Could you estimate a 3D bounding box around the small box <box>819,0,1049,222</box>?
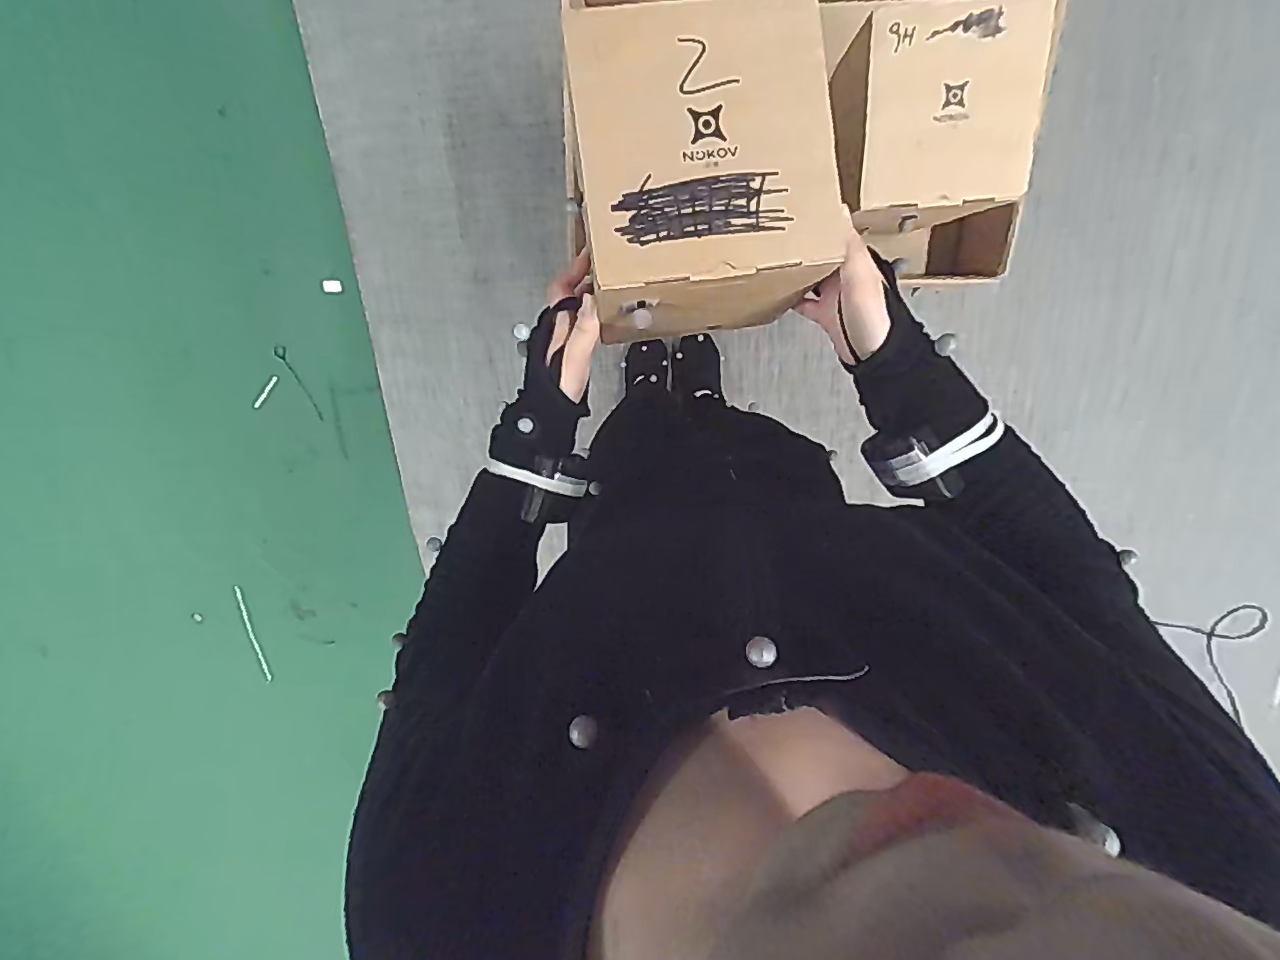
[{"bbox_3d":[0.307,-0.394,0.609,0.168,0.176,0.179,-1,110,5],"label":"small box"}]
